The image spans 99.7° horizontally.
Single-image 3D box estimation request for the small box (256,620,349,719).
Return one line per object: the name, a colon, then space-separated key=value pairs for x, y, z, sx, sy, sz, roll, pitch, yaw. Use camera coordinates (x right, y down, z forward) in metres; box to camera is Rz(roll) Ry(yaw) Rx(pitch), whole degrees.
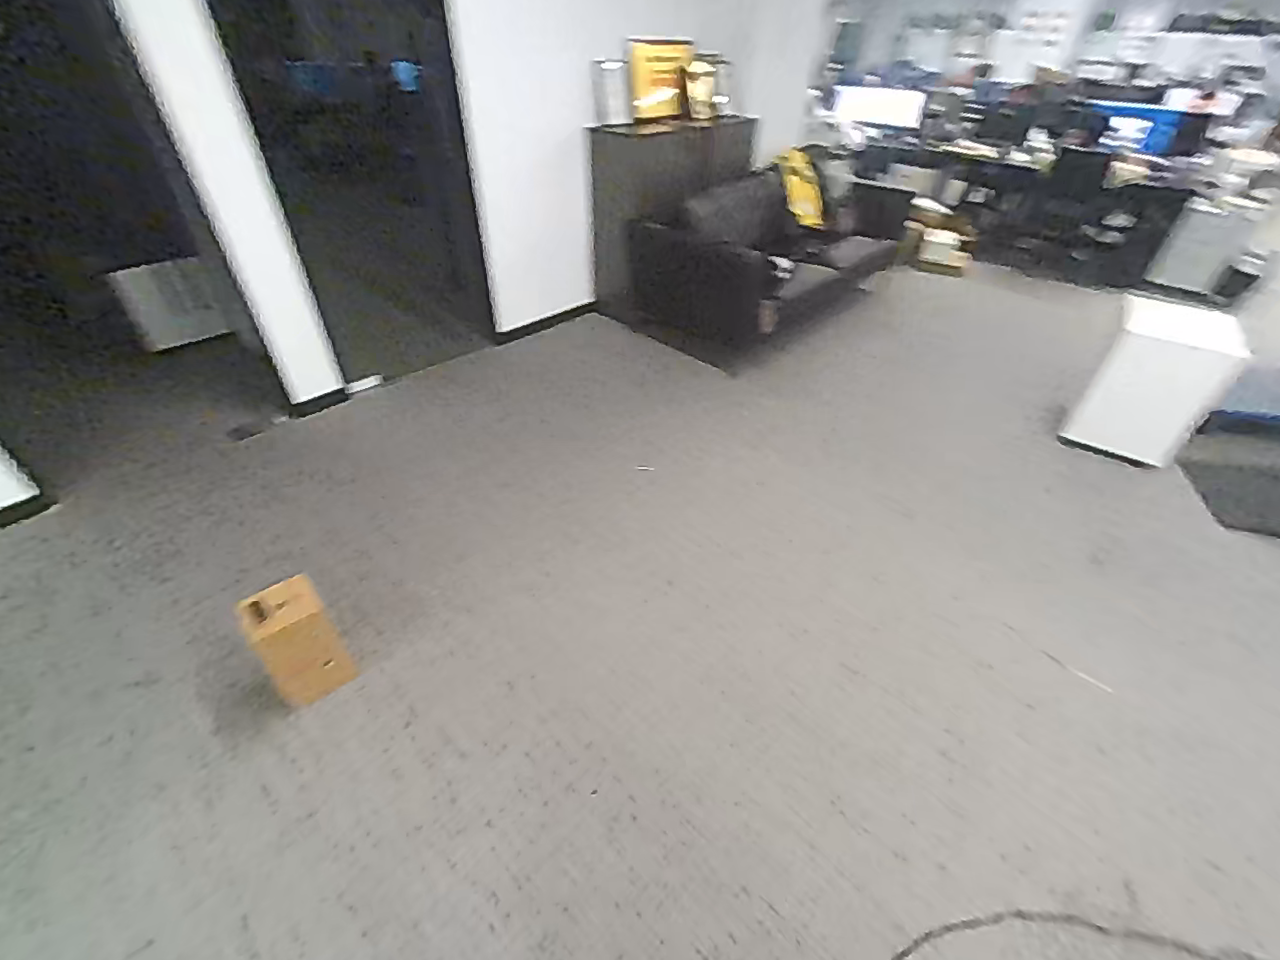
small box: x=-0.977 y=0.553 z=1.582 sx=0.179 sy=0.176 sz=0.168 roll=-28 pitch=48 yaw=-31
